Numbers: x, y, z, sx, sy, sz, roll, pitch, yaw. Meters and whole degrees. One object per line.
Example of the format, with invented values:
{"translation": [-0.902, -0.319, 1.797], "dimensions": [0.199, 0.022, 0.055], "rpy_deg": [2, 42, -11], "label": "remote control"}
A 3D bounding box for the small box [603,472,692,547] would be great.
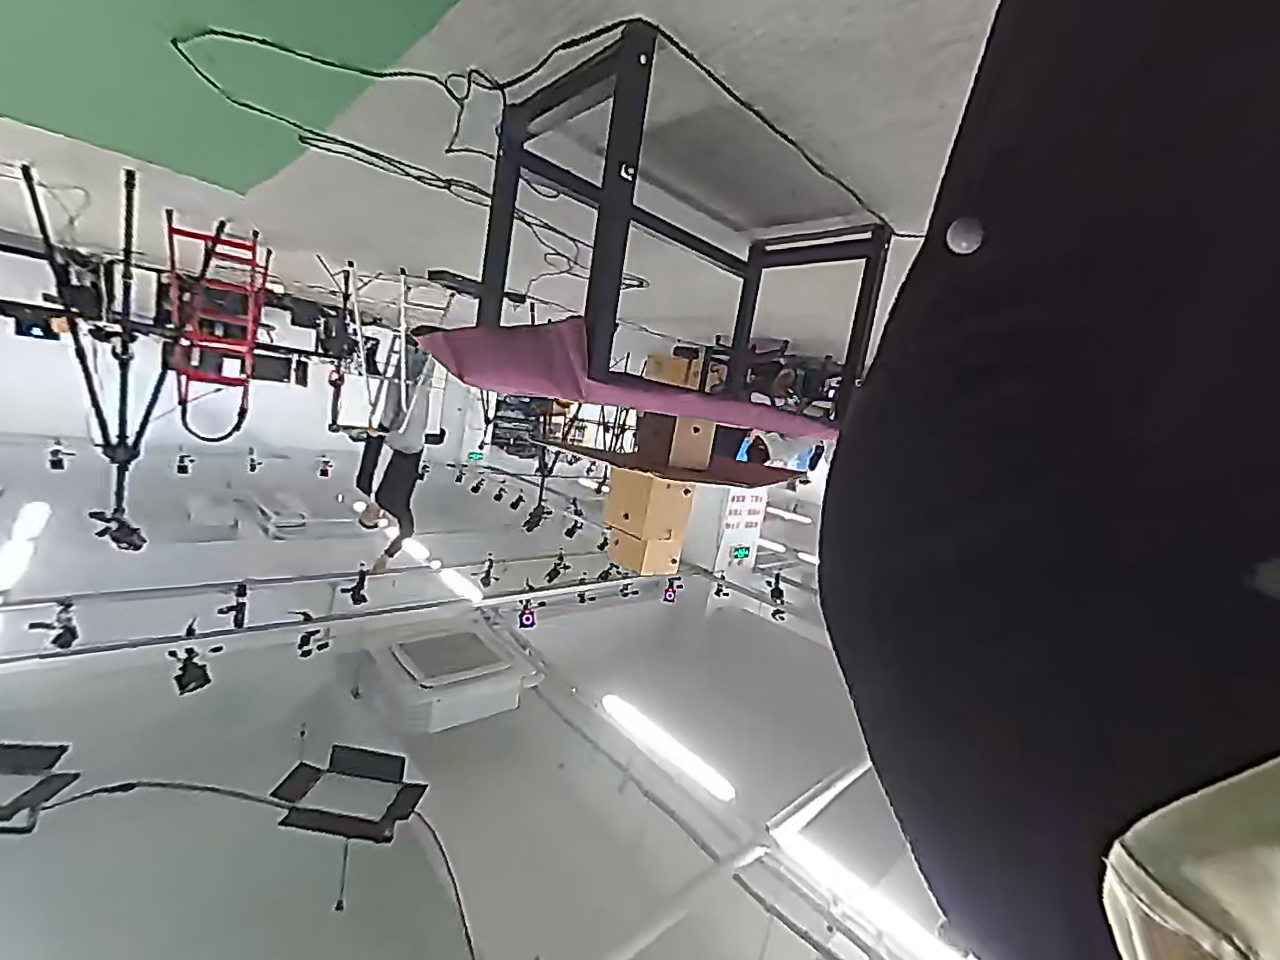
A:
{"translation": [0.025, 0.076, 1.468], "dimensions": [0.168, 0.176, 0.179], "rpy_deg": [6, -172, -42], "label": "small box"}

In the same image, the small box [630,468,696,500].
{"translation": [0.057, 0.059, 1.739], "dimensions": [0.168, 0.176, 0.179], "rpy_deg": [7, -174, -43], "label": "small box"}
